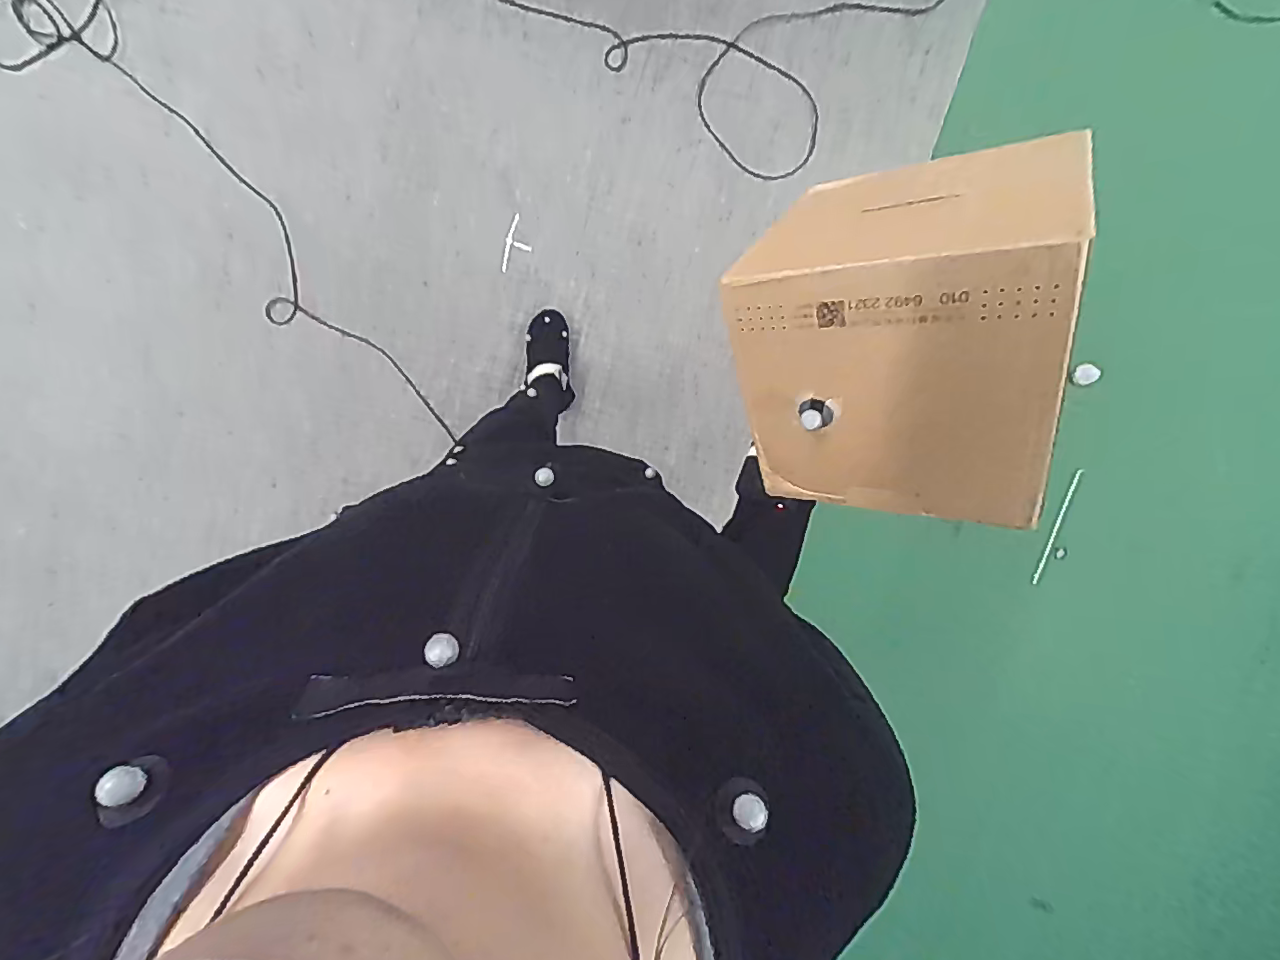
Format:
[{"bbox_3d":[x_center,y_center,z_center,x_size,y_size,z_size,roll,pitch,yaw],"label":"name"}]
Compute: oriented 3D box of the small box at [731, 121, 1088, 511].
[{"bbox_3d":[0.176,-0.105,0.358,0.168,0.179,0.176,7,134,34],"label":"small box"}]
